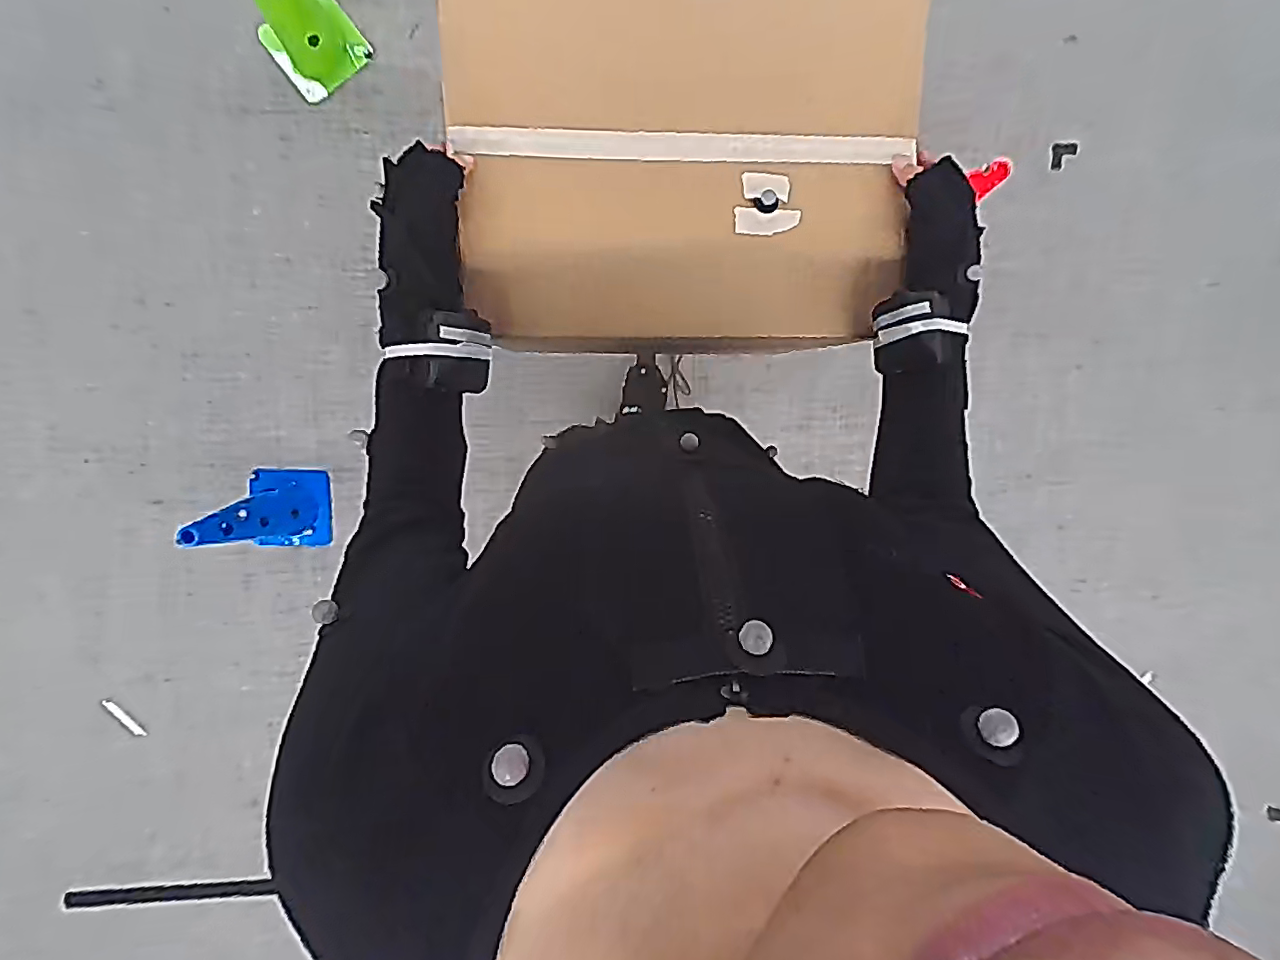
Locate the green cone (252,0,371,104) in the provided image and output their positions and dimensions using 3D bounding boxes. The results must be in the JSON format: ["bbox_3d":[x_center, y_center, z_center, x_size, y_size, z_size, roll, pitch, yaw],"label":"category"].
[{"bbox_3d":[-0.766,-1.016,1.122,0.202,0.368,0.200,-38,97,2],"label":"green cone"}]

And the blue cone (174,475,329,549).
[{"bbox_3d":[-0.904,0.099,1.254,0.192,0.380,0.193,2,96,-3],"label":"blue cone"}]

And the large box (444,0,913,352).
[{"bbox_3d":[0.027,-0.317,0.616,0.408,0.320,0.320,-2,101,-5],"label":"large box"}]
